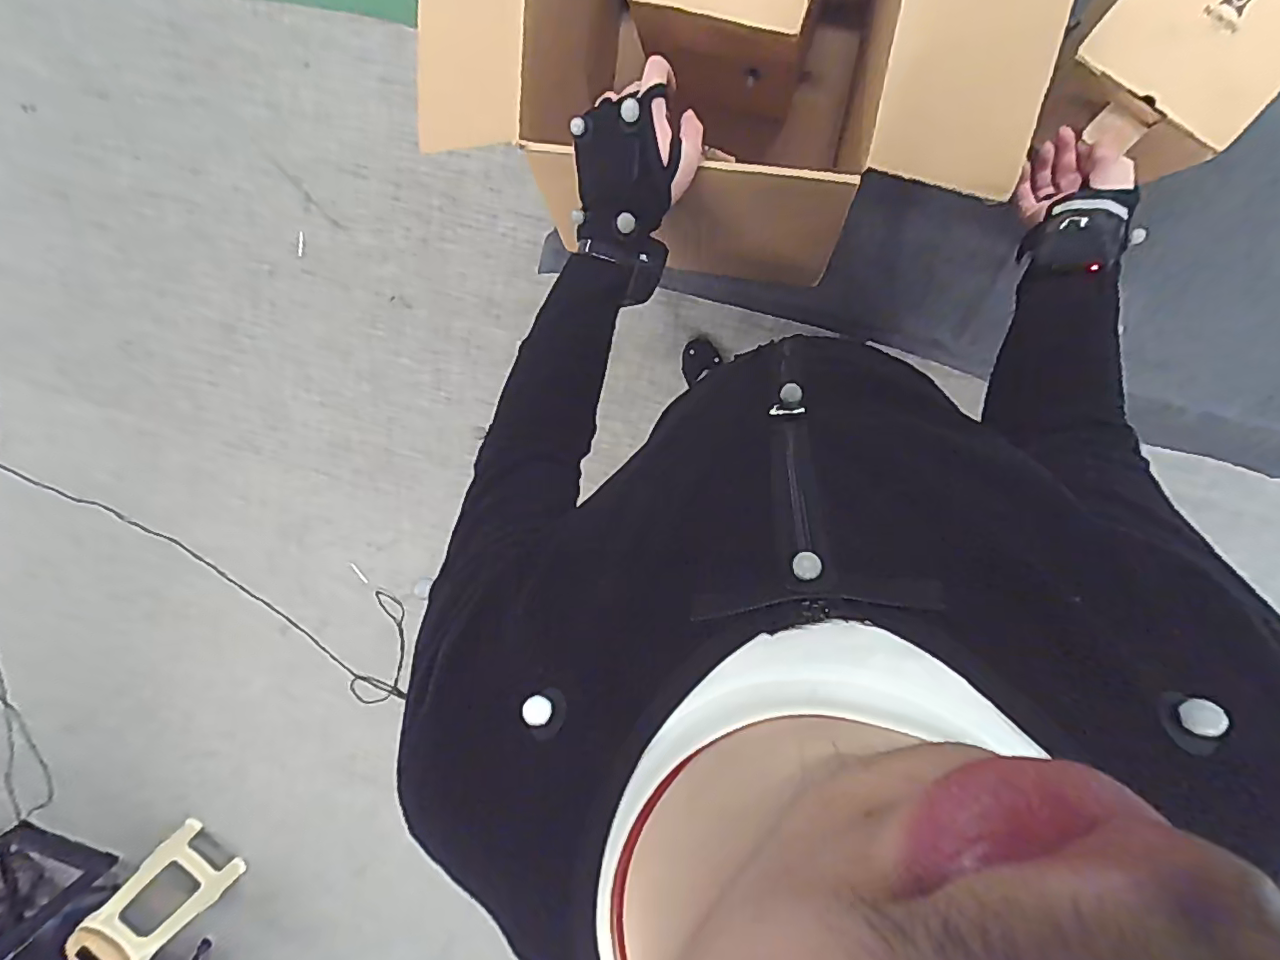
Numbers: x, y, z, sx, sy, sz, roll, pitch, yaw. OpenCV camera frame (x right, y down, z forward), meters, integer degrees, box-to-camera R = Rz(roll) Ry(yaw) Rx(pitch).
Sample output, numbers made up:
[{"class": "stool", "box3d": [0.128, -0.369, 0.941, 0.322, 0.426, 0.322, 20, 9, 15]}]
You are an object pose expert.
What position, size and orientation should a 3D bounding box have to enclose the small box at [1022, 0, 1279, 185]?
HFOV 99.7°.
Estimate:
[{"class": "small box", "box3d": [0.539, -0.441, 0.555, 0.168, 0.176, 0.179, 39, 111, 0]}]
